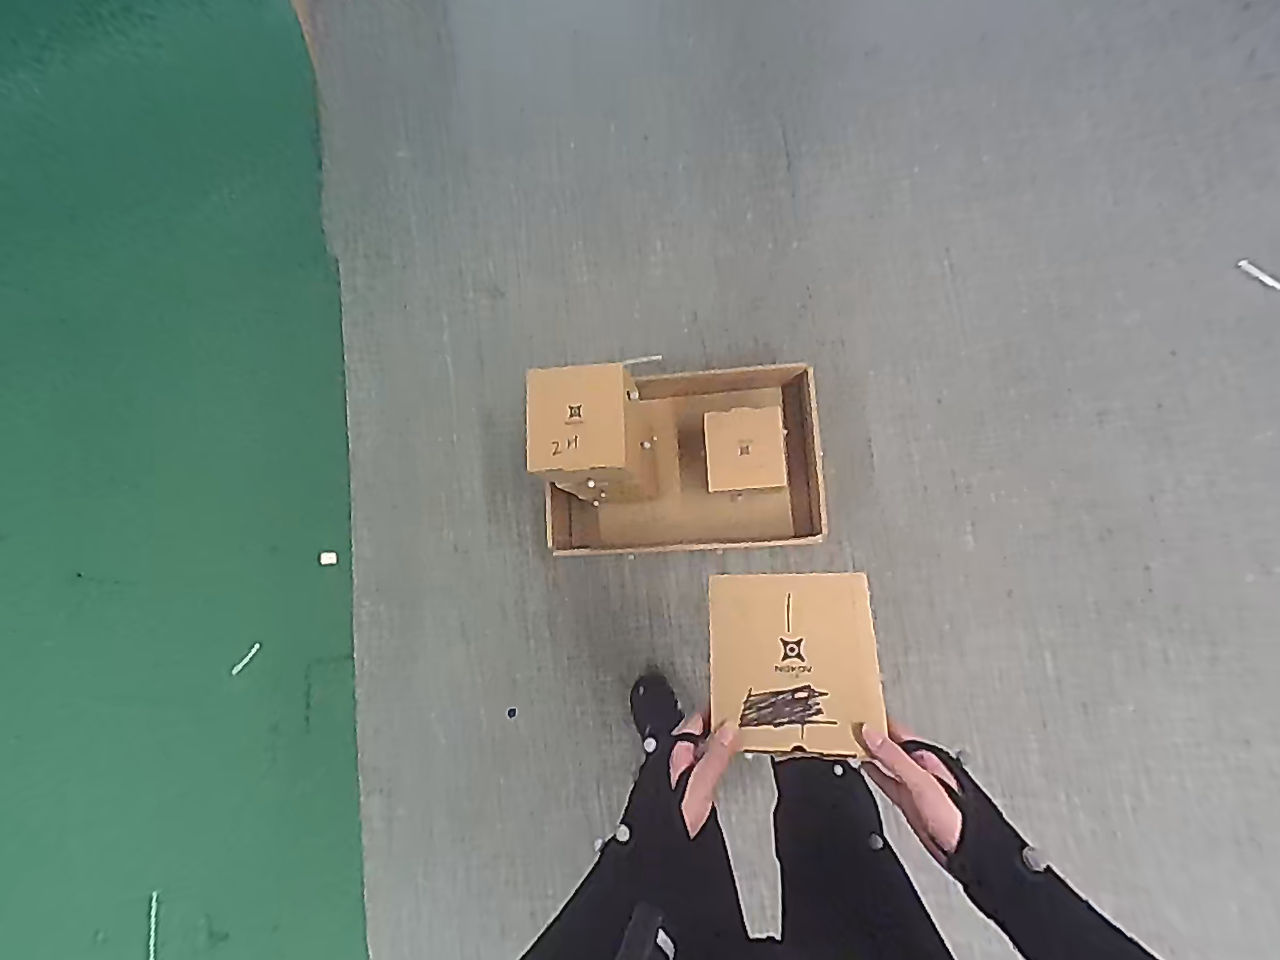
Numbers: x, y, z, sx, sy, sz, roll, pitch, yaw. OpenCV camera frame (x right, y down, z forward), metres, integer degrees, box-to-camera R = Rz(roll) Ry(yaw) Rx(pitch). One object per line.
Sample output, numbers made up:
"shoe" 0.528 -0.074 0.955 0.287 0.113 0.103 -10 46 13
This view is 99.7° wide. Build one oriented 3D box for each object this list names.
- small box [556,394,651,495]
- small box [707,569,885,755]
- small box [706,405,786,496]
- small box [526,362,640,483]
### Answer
"small box" -0.071 -0.068 1.119 0.168 0.176 0.179 -3 82 9
"small box" 0.166 0.207 0.615 0.168 0.176 0.179 -3 65 11
"small box" 0.238 -0.061 1.229 0.168 0.176 0.179 -4 83 11
"small box" -0.094 -0.094 0.958 0.168 0.176 0.179 -3 82 9
